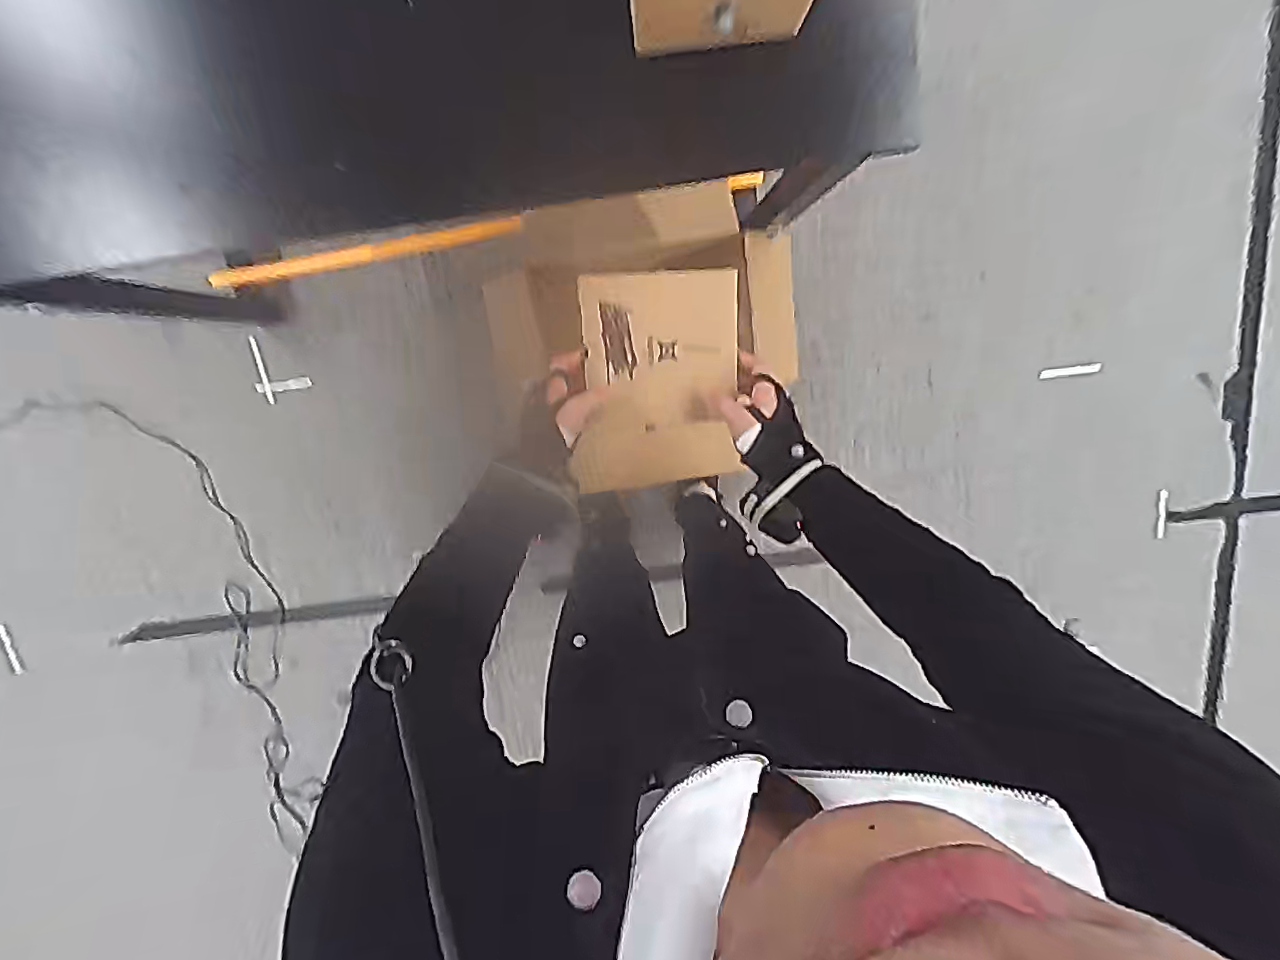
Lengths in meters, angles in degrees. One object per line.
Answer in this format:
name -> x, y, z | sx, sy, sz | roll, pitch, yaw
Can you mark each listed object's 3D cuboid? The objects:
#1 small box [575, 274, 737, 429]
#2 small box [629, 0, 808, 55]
small box -> 0.019, -0.152, 0.672 | 0.179, 0.176, 0.168 | -2, 101, -1
small box -> 0.066, -0.506, 0.452 | 0.168, 0.176, 0.179 | -6, 102, 1
